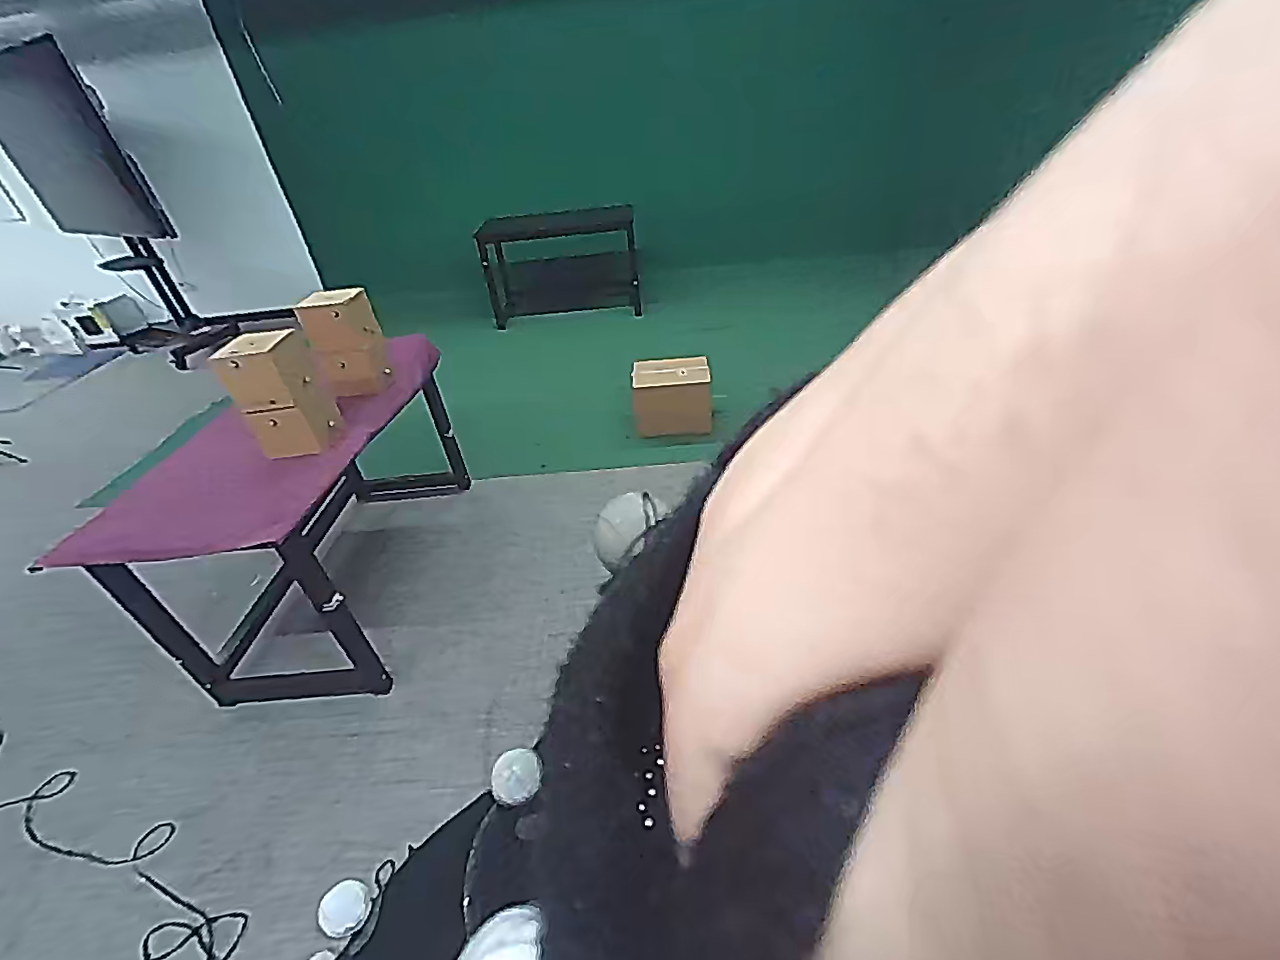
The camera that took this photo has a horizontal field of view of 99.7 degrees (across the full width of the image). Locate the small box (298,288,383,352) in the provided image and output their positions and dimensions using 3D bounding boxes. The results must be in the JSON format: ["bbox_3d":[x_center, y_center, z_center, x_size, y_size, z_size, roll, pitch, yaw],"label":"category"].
[{"bbox_3d":[-1.031,-0.553,1.878,0.179,0.176,0.168,-5,36,3],"label":"small box"}]

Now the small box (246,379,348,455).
[{"bbox_3d":[-1.039,-0.188,1.654,0.179,0.176,0.168,-6,36,2],"label":"small box"}]

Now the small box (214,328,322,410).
[{"bbox_3d":[-1.055,-0.320,1.557,0.168,0.176,0.179,-7,35,3],"label":"small box"}]

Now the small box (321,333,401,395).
[{"bbox_3d":[-1.010,-0.422,1.972,0.179,0.176,0.168,-4,36,3],"label":"small box"}]

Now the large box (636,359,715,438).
[{"bbox_3d":[0.189,-0.444,2.933,0.408,0.320,0.320,-3,37,4],"label":"large box"}]
